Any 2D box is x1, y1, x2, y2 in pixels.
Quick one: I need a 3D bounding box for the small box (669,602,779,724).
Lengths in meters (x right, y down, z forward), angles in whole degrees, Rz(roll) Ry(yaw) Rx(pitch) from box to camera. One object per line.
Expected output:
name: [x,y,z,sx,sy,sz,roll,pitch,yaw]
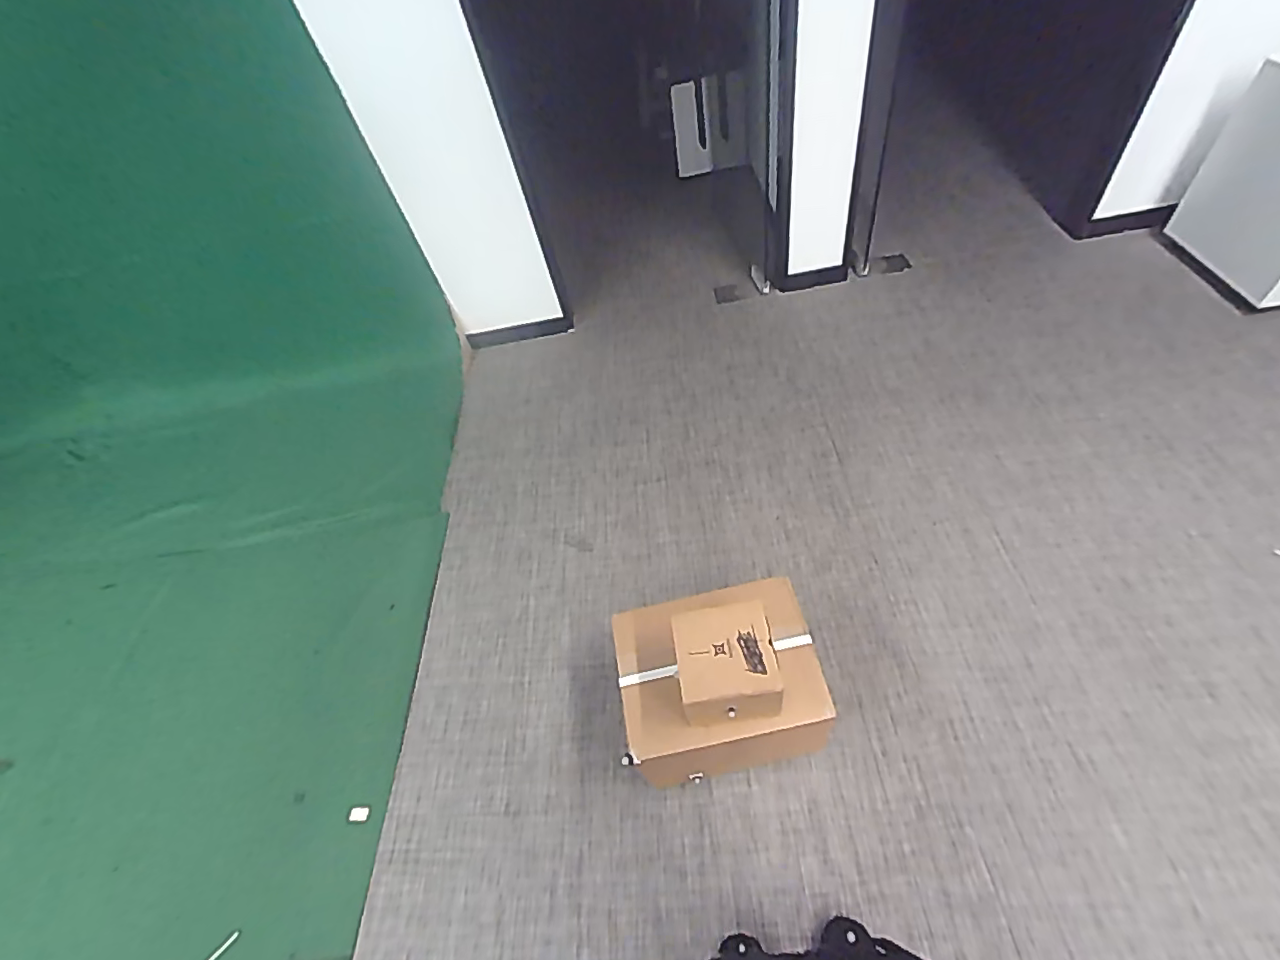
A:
small box: [0.159,0.353,1.036,0.179,0.176,0.168,-11,51,5]
